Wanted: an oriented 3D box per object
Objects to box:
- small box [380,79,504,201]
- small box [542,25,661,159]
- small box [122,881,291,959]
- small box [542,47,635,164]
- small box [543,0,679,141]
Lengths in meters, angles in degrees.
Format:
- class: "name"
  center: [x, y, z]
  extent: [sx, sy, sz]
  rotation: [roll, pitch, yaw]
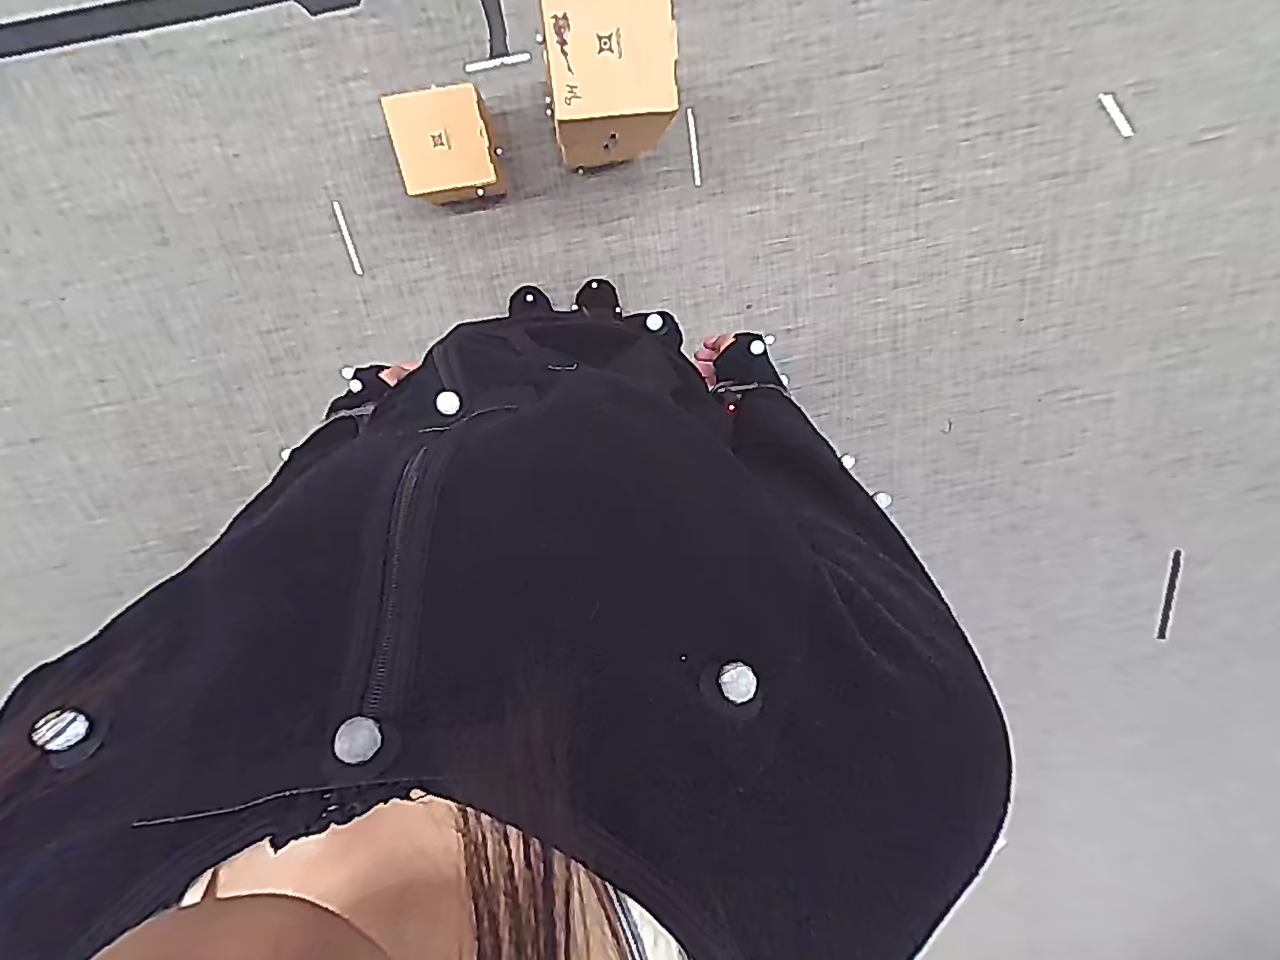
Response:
- class: "small box"
  center: [-0.387, -0.673, 1.089]
  extent: [0.179, 0.176, 0.168]
  rotation: [-11, 112, -3]
- class: "small box"
  center: [-0.067, -0.678, 0.946]
  extent: [0.179, 0.176, 0.168]
  rotation: [-10, 113, -4]
- class: "small box"
  center: [-0.681, 0.766, 0.837]
  extent: [0.179, 0.176, 0.168]
  rotation: [-12, 112, -1]
- class: "small box"
  center: [-0.093, -0.754, 1.091]
  extent: [0.168, 0.176, 0.179]
  rotation: [-12, 112, -3]
- class: "small box"
  center: [-0.047, -0.614, 0.797]
  extent: [0.179, 0.176, 0.168]
  rotation: [-7, 113, -5]
